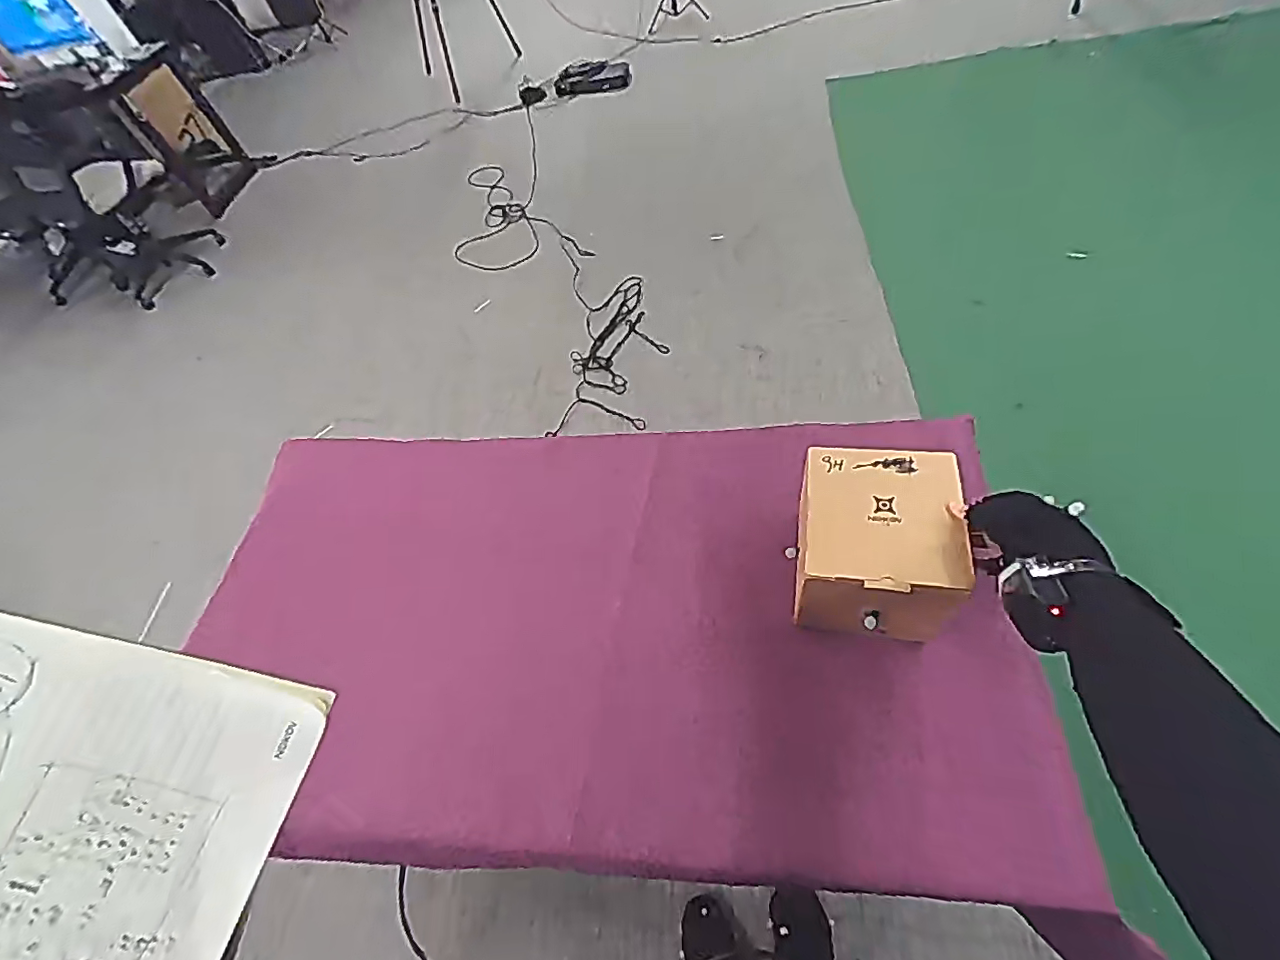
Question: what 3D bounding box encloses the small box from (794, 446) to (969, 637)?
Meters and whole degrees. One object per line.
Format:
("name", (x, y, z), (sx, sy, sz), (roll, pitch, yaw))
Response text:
("small box", (0.282, 0.080, 0.666), (0.168, 0.176, 0.179), (4, 58, 14))
